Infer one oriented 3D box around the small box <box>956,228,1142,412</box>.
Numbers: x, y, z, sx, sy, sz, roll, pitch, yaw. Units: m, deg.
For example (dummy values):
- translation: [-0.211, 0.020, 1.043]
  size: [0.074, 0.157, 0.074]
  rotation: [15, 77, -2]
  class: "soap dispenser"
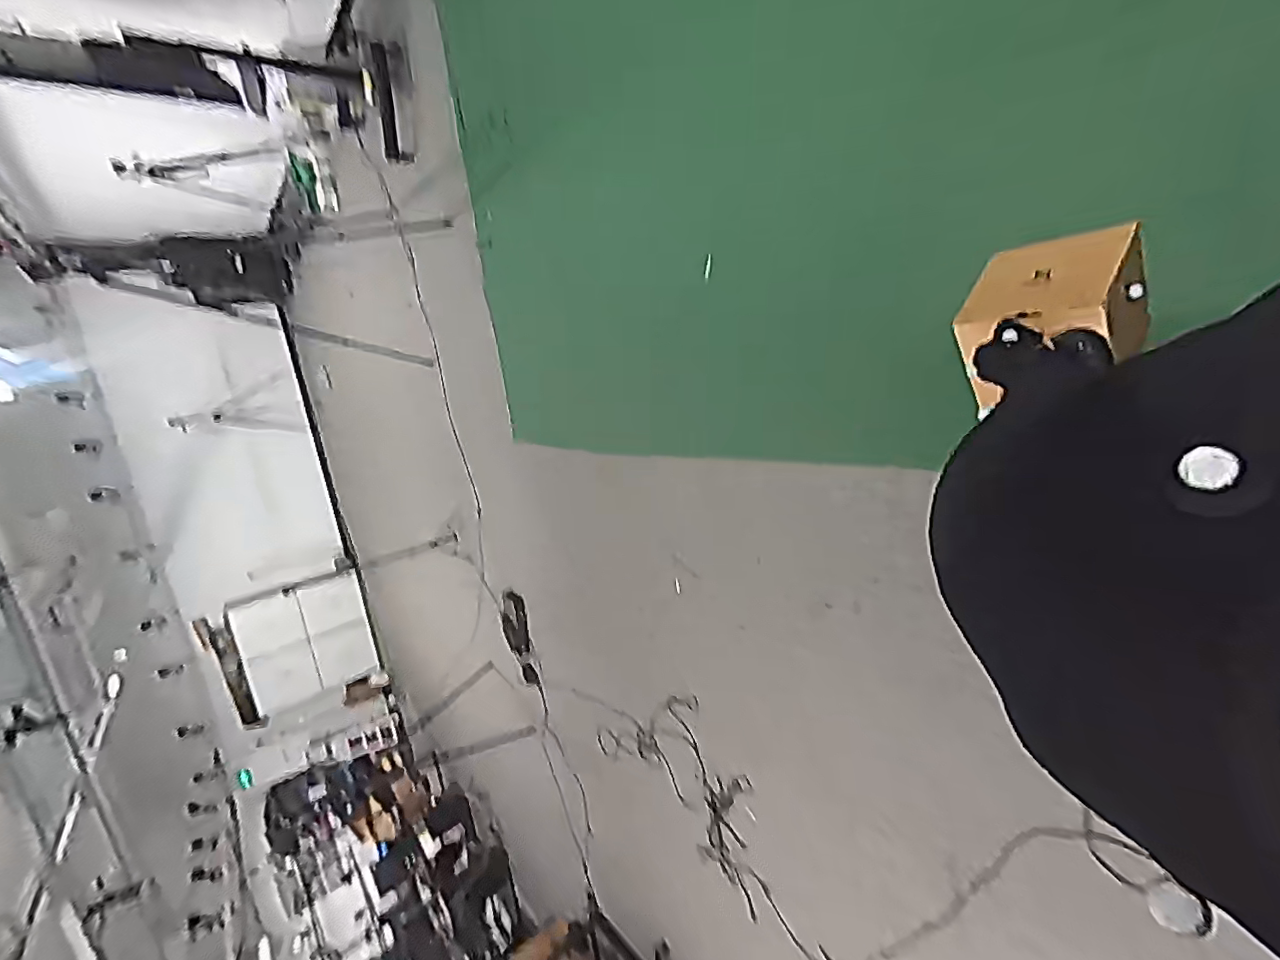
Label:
- translation: [0.584, -0.215, 0.767]
  size: [0.168, 0.179, 0.176]
  rotation: [6, 142, 52]
  class: "small box"
